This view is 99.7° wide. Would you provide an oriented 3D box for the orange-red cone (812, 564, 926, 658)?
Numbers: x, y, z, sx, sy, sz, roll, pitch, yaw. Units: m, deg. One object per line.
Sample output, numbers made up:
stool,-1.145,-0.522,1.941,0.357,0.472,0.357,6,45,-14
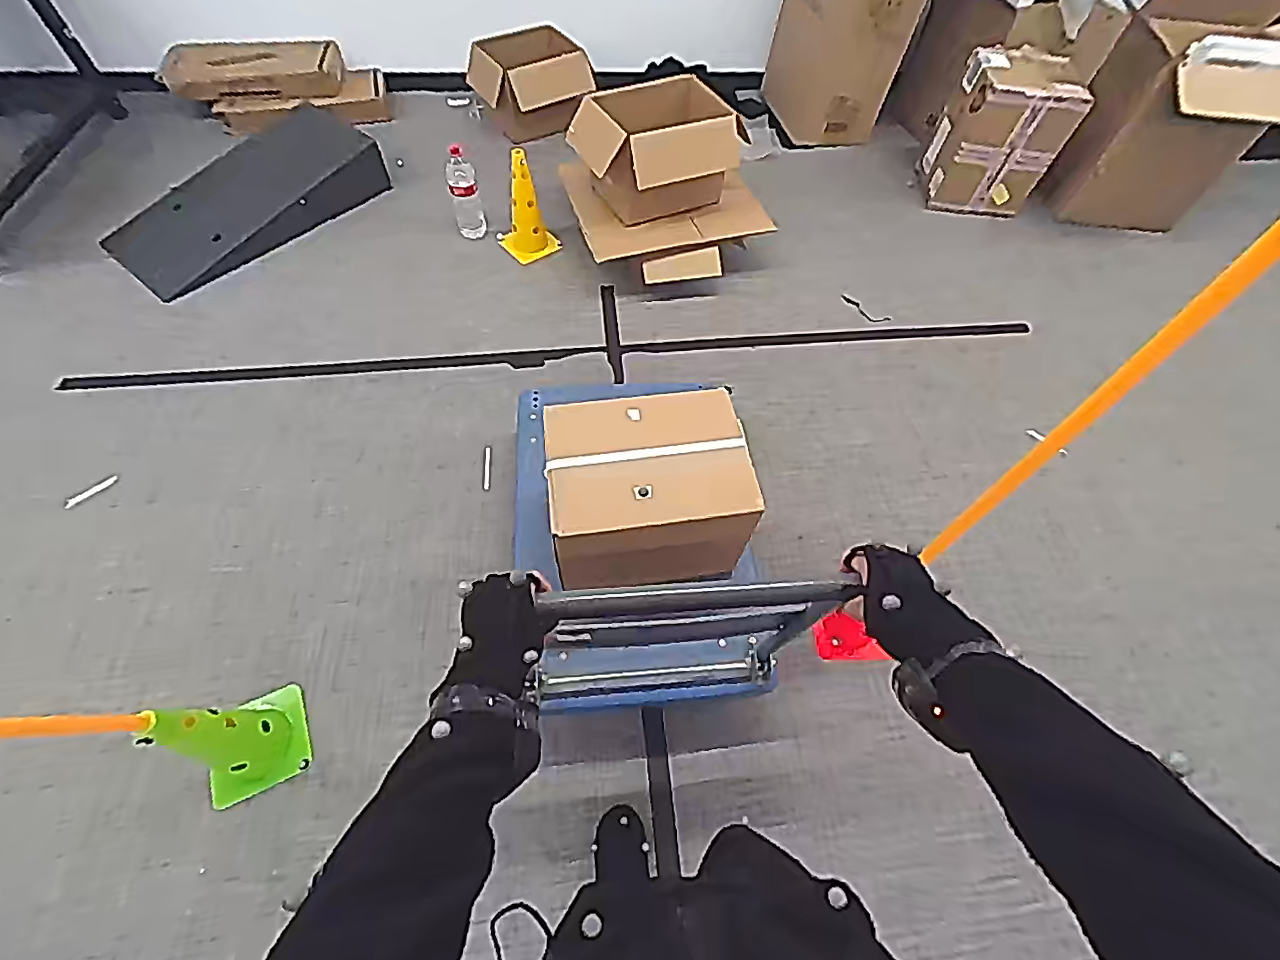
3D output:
orange-red cone,0.565,0.277,1.266,0.199,0.360,0.198,2,59,-3
